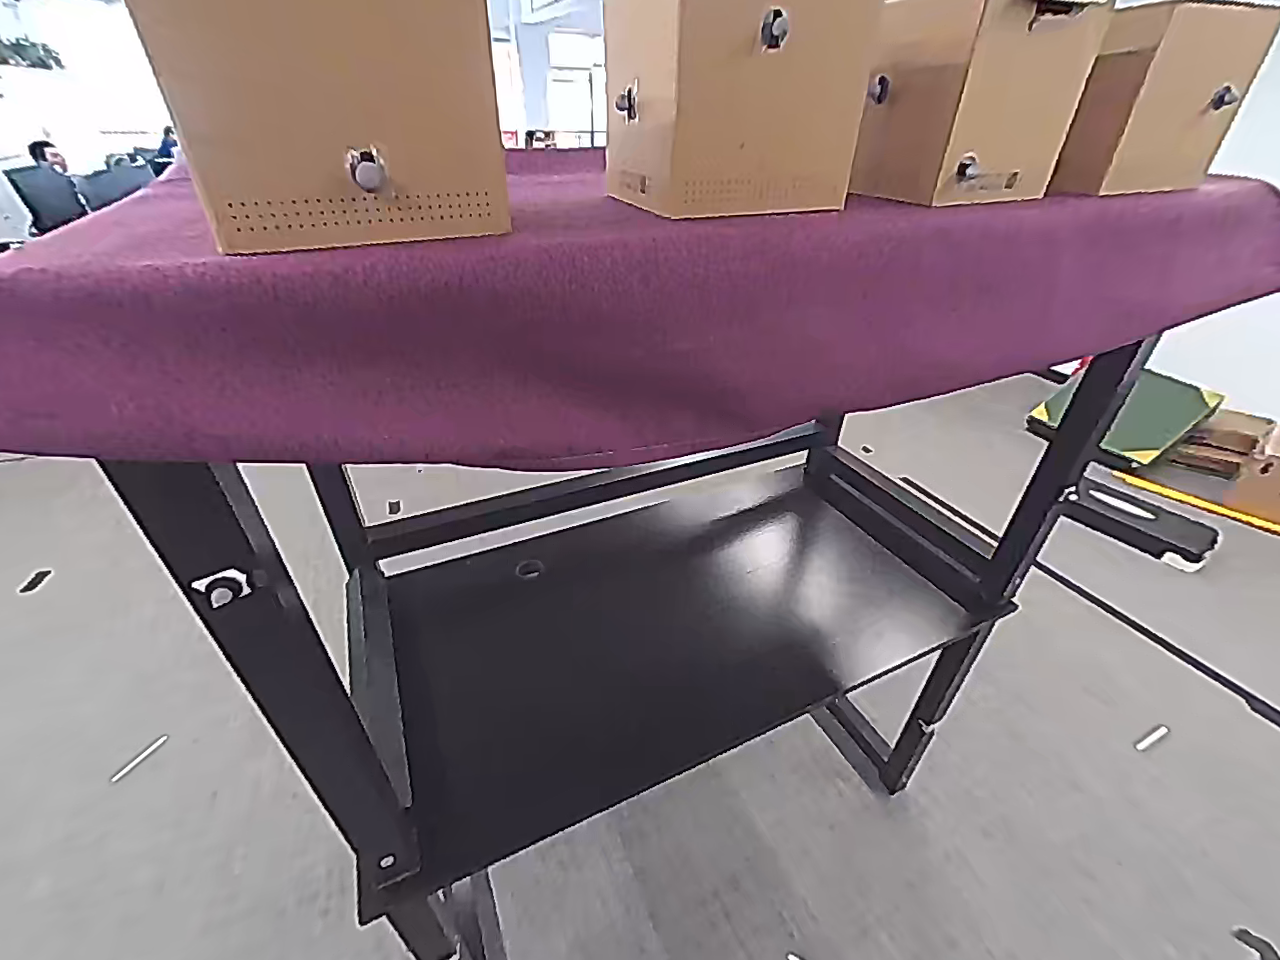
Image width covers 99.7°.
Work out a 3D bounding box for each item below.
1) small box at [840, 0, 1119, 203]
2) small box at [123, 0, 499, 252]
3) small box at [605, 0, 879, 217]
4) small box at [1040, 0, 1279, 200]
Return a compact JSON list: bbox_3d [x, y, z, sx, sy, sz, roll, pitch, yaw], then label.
[{"bbox_3d":[0.317,-0.386,0.557,0.168,0.176,0.179,-14,36,-21],"label":"small box"},{"bbox_3d":[-0.201,-0.257,0.354,0.179,0.176,0.168,-17,38,-26],"label":"small box"},{"bbox_3d":[0.078,-0.335,0.475,0.179,0.176,0.168,-12,36,-18],"label":"small box"},{"bbox_3d":[0.554,-0.432,0.629,0.179,0.176,0.168,-12,35,-17],"label":"small box"}]
